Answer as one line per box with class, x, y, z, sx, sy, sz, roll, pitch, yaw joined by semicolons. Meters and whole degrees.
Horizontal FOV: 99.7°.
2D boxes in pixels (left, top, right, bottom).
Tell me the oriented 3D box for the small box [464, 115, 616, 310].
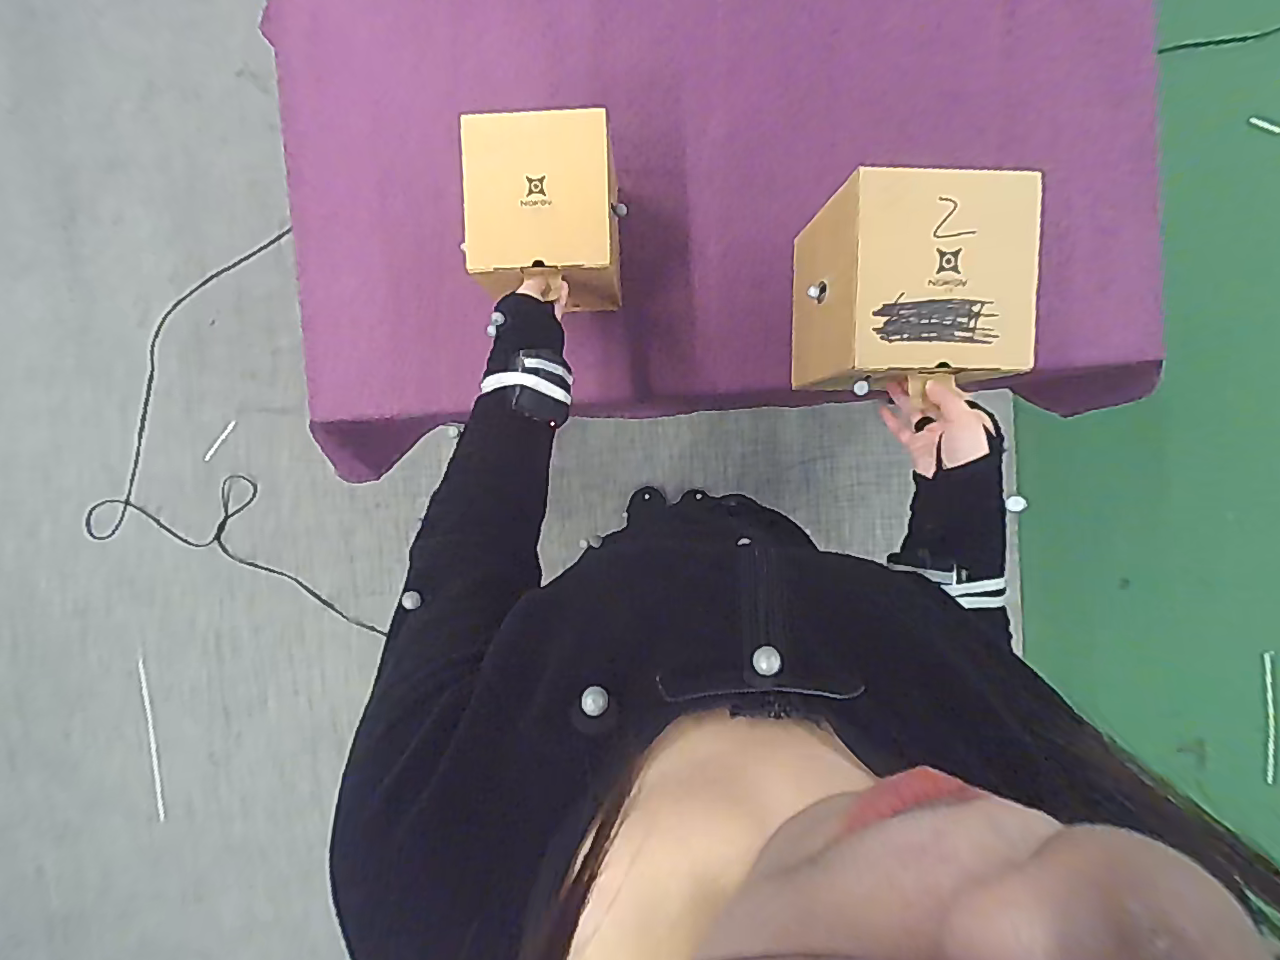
small box;-0.119;-0.332;0.700;0.168;0.176;0.179;-1;92;1
